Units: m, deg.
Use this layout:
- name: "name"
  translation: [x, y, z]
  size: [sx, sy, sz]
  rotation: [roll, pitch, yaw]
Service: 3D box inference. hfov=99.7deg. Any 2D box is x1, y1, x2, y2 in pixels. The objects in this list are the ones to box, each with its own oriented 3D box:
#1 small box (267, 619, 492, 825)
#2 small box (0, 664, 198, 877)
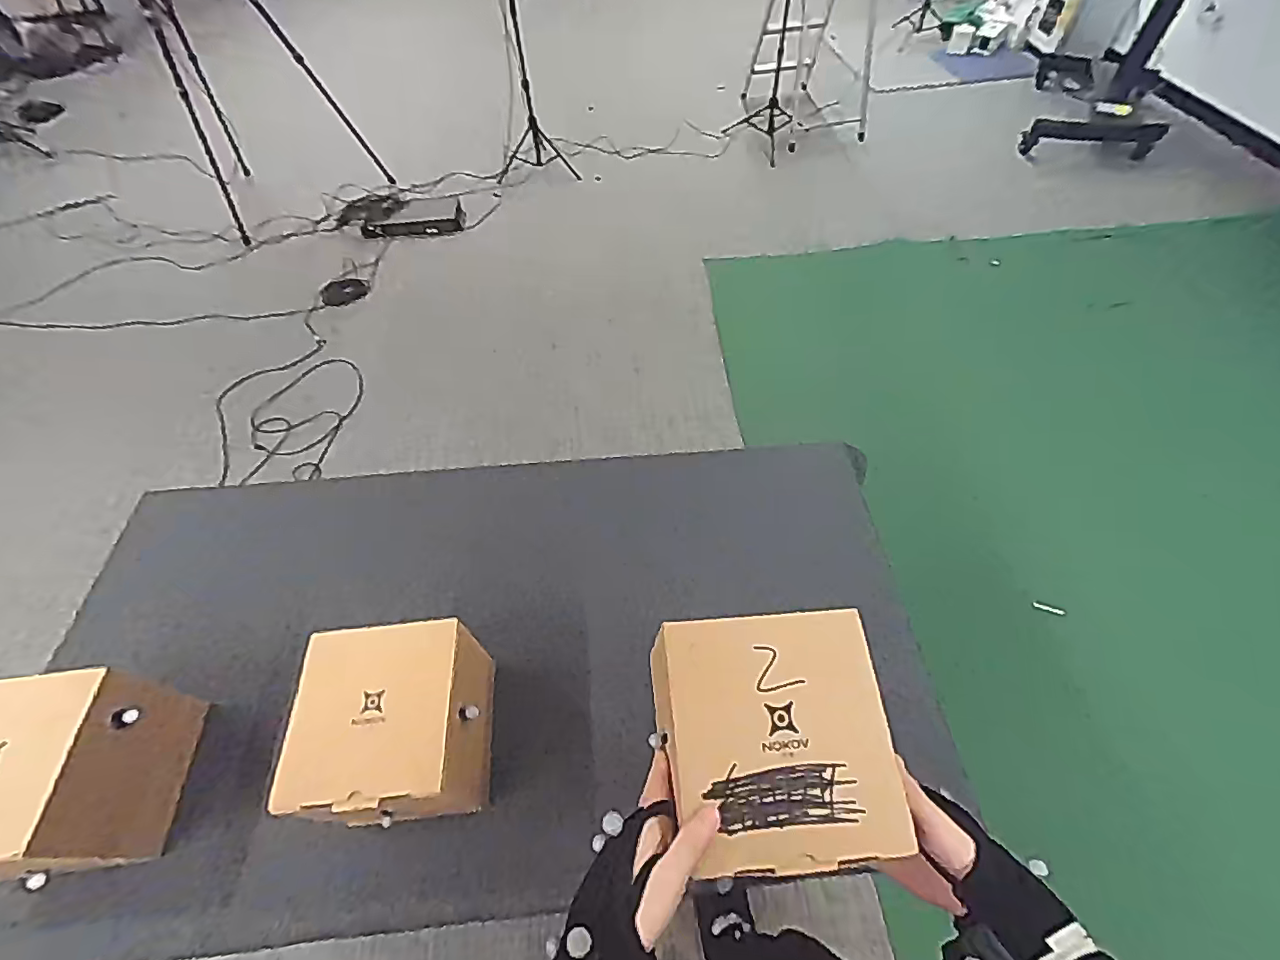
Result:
- name: "small box"
  translation: [-0.273, 0.279, 0.619]
  size: [0.168, 0.176, 0.179]
  rotation: [-6, 55, -2]
- name: "small box"
  translation: [-0.645, 0.322, 0.596]
  size: [0.168, 0.176, 0.179]
  rotation: [-6, 55, -2]
